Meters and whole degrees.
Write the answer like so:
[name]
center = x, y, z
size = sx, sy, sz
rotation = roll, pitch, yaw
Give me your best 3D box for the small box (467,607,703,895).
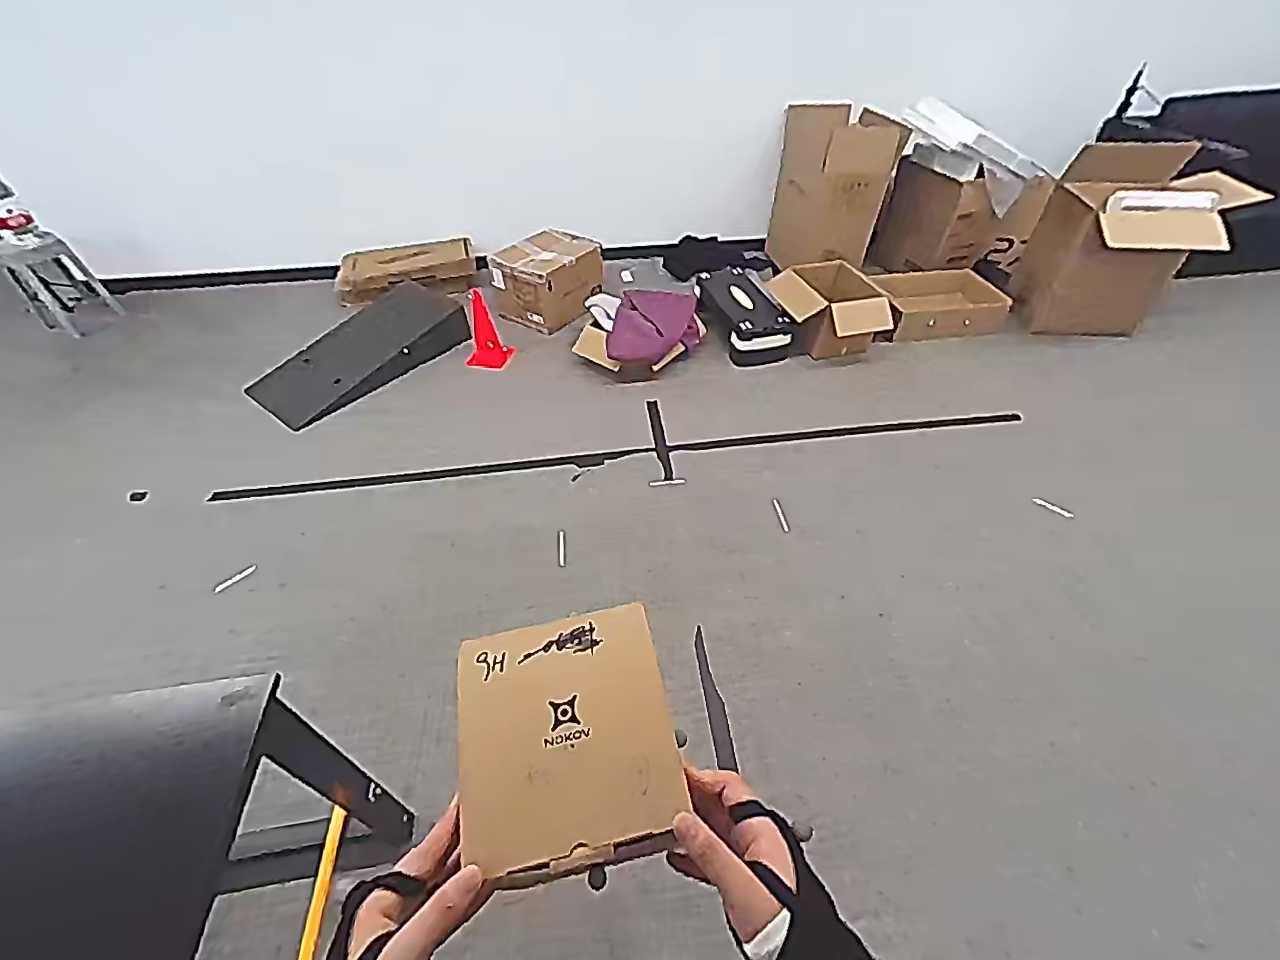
[small box]
center = -0.045, 0.241, 0.484
size = 0.168, 0.176, 0.179
rotation = -12, 55, -5
